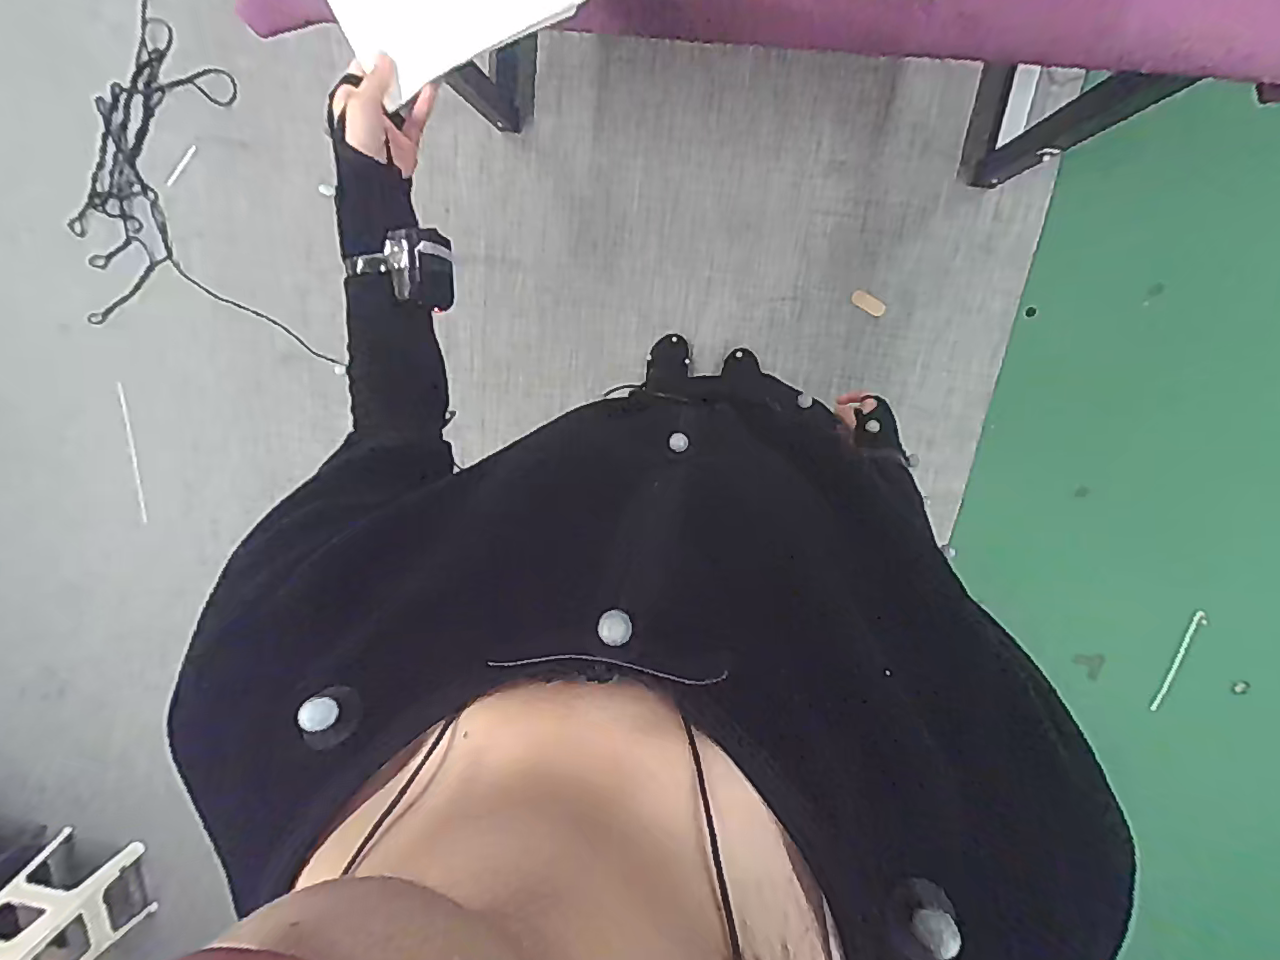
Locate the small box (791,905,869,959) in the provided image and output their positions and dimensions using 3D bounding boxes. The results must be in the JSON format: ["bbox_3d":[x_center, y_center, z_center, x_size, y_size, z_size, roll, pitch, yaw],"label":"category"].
[{"bbox_3d":[0.491,1.241,1.390,0.179,0.176,0.168,-2,103,9],"label":"small box"}]
